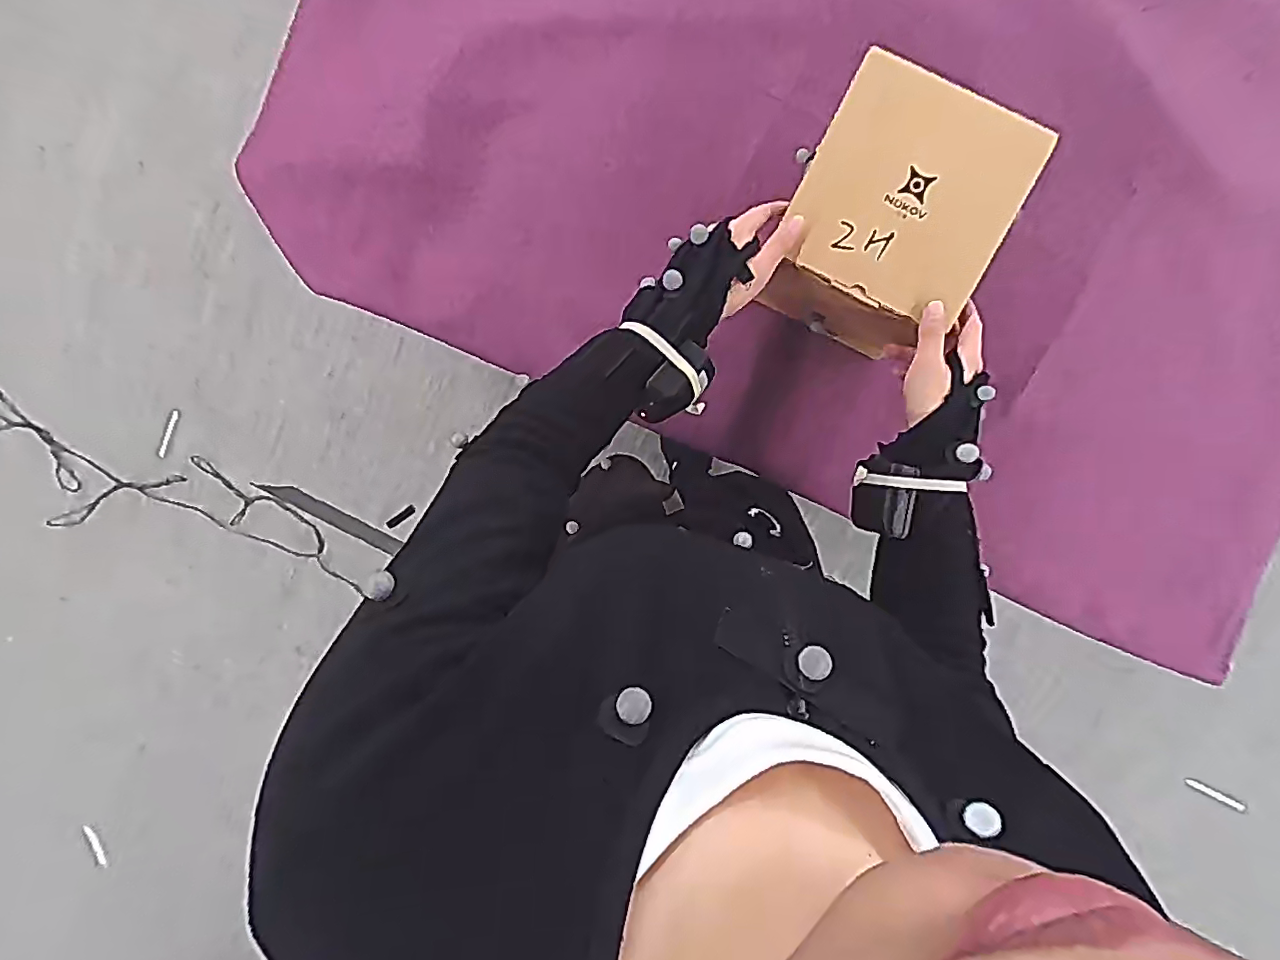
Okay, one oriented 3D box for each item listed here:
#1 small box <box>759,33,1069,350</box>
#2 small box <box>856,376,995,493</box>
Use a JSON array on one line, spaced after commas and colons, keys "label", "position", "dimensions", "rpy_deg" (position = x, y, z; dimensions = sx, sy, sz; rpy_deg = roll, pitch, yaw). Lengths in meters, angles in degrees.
[{"label": "small box", "position": [0.225, -0.241, 0.503], "dimensions": [0.168, 0.176, 0.179], "rpy_deg": [27, 99, 2]}, {"label": "small box", "position": [0.571, -0.095, 1.113], "dimensions": [0.168, 0.176, 0.179], "rpy_deg": [27, 98, 2]}]
